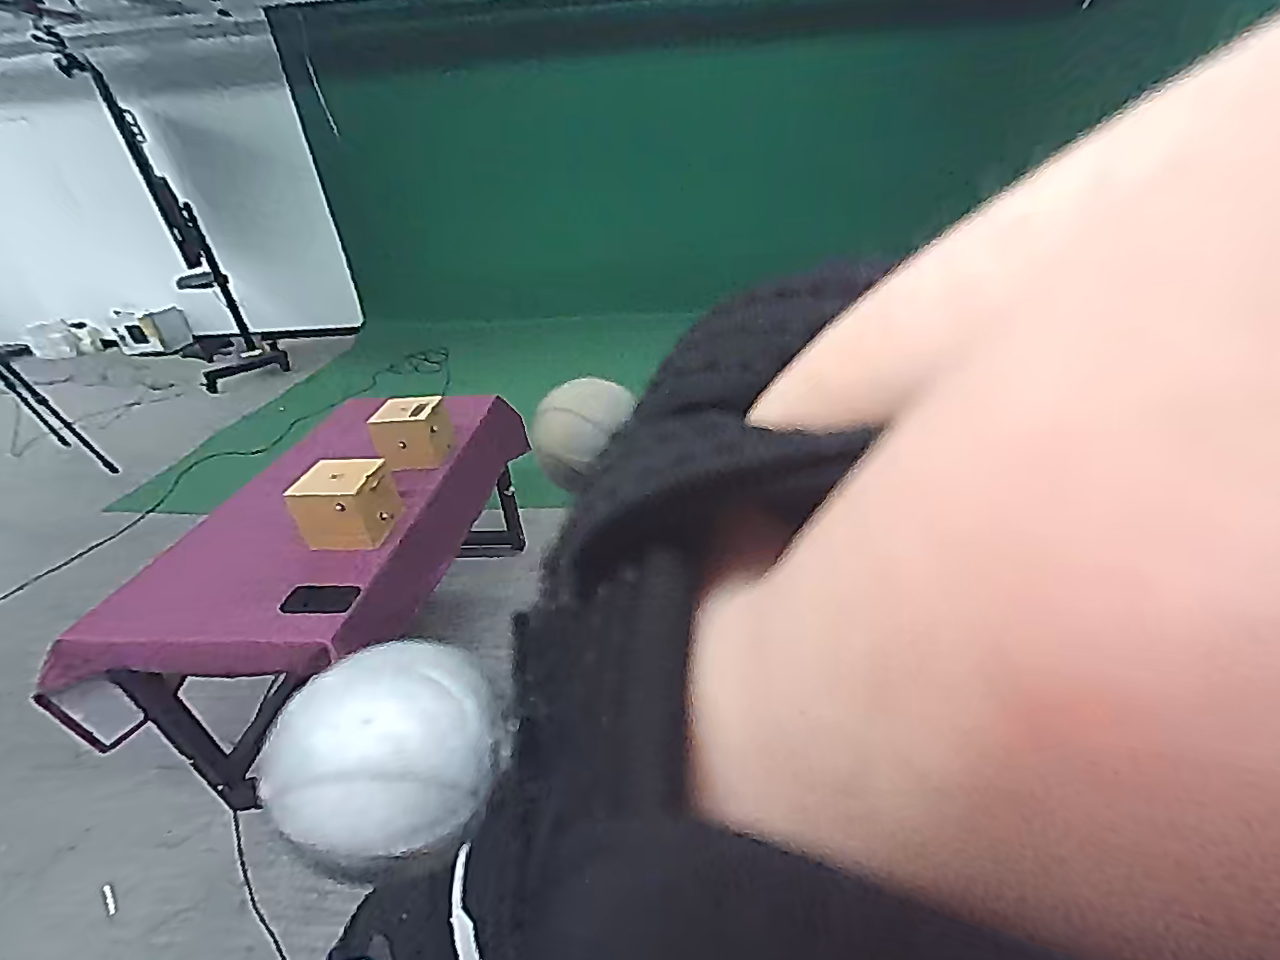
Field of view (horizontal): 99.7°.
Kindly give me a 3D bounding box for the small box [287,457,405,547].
[{"bbox_3d":[-0.723,0.055,1.351,0.179,0.176,0.168,0,33,5],"label":"small box"}]
